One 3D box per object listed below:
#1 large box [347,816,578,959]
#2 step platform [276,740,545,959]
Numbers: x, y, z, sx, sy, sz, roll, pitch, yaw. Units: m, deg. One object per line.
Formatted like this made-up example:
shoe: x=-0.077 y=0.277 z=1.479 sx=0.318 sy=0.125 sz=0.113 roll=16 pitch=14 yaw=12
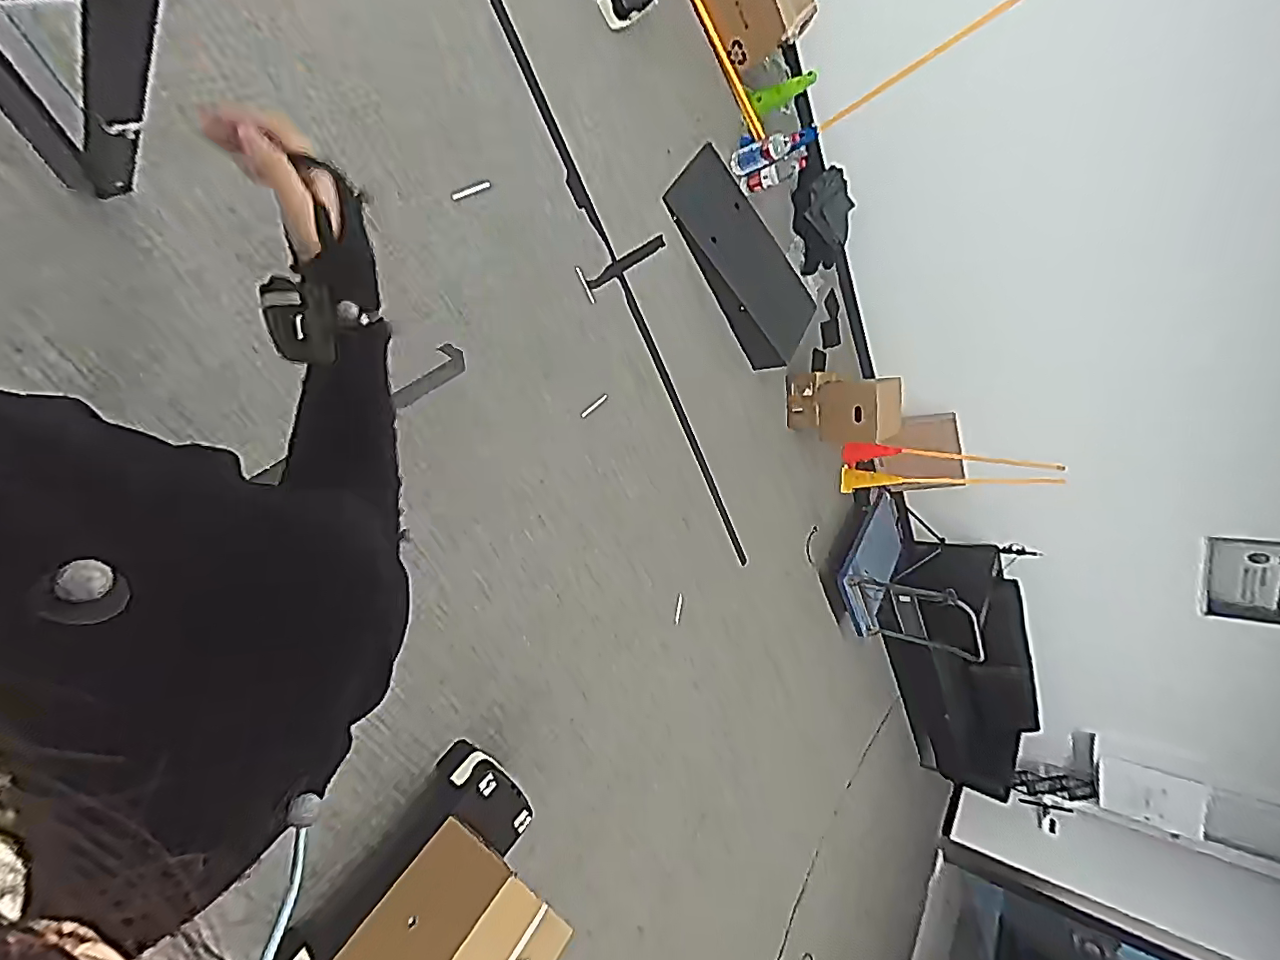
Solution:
large box: x=-0.435 y=1.142 z=1.310 sx=0.408 sy=0.320 sz=0.320 roll=-48 pitch=123 yaw=-36
step platform: x=-0.585 y=1.092 z=1.498 sx=0.684 sy=0.204 sz=0.286 roll=-41 pitch=119 yaw=-39
